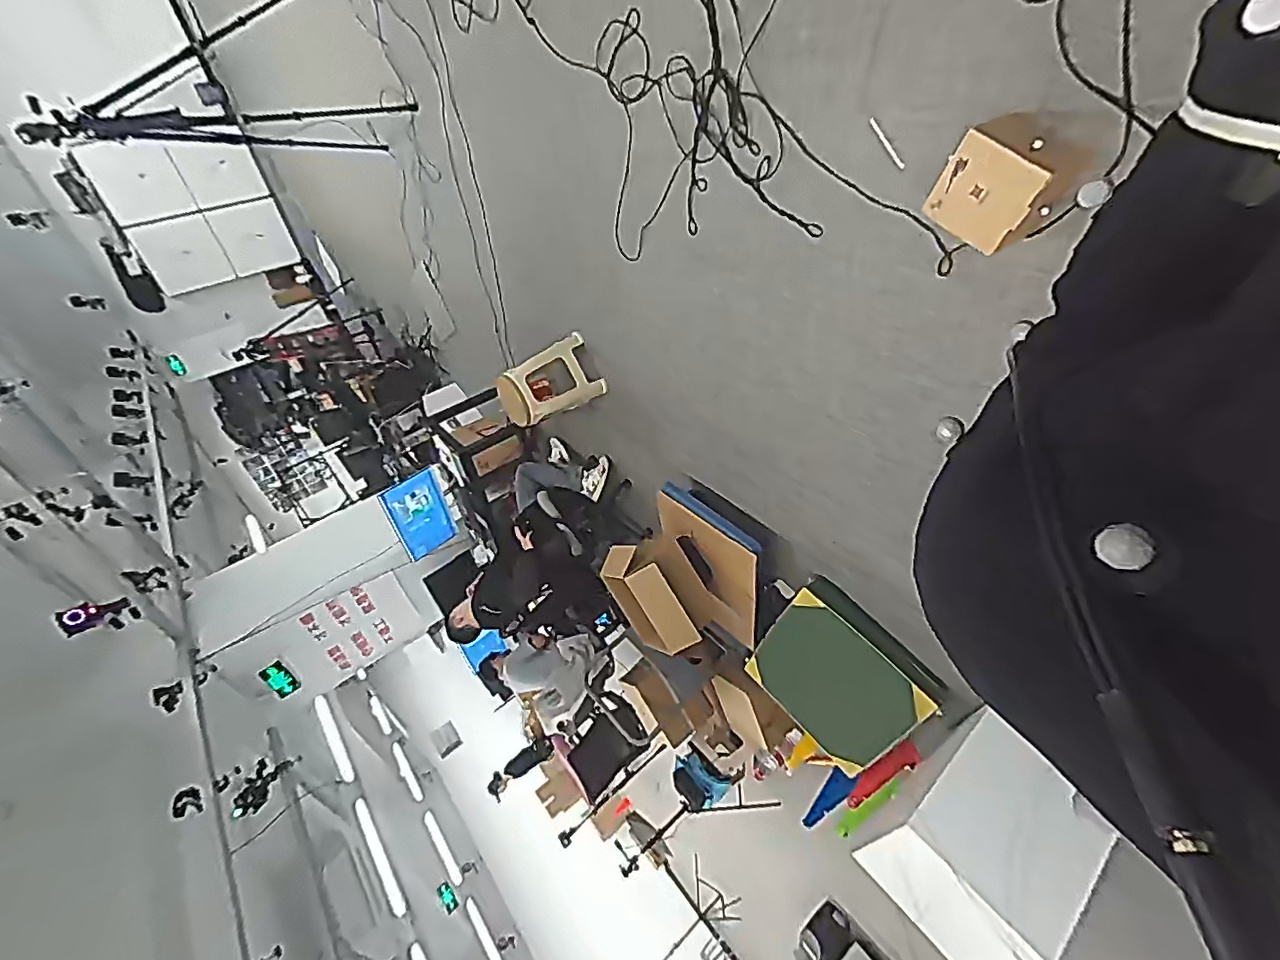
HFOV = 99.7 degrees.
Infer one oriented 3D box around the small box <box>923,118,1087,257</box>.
[{"bbox_3d":[0.713,-0.579,1.061,0.179,0.176,0.168,49,152,20],"label":"small box"}]
